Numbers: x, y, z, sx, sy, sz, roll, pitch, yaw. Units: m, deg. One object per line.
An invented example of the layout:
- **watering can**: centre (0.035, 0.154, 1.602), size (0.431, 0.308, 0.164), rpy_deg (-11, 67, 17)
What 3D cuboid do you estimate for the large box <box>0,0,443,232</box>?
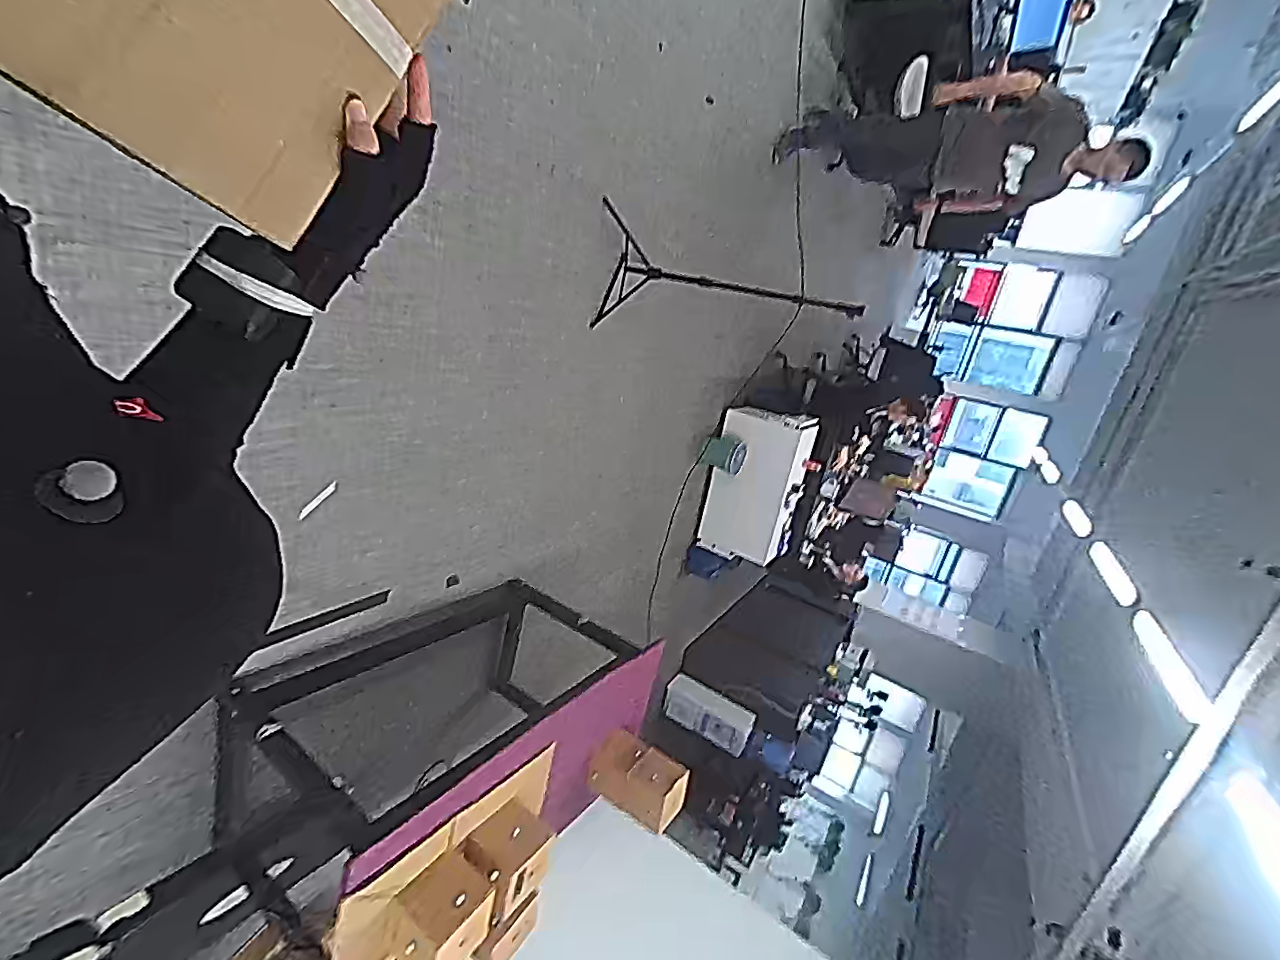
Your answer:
- **large box**: centre (-0.372, -0.427, 0.304), size (0.320, 0.320, 0.408), rpy_deg (-57, 149, 1)
